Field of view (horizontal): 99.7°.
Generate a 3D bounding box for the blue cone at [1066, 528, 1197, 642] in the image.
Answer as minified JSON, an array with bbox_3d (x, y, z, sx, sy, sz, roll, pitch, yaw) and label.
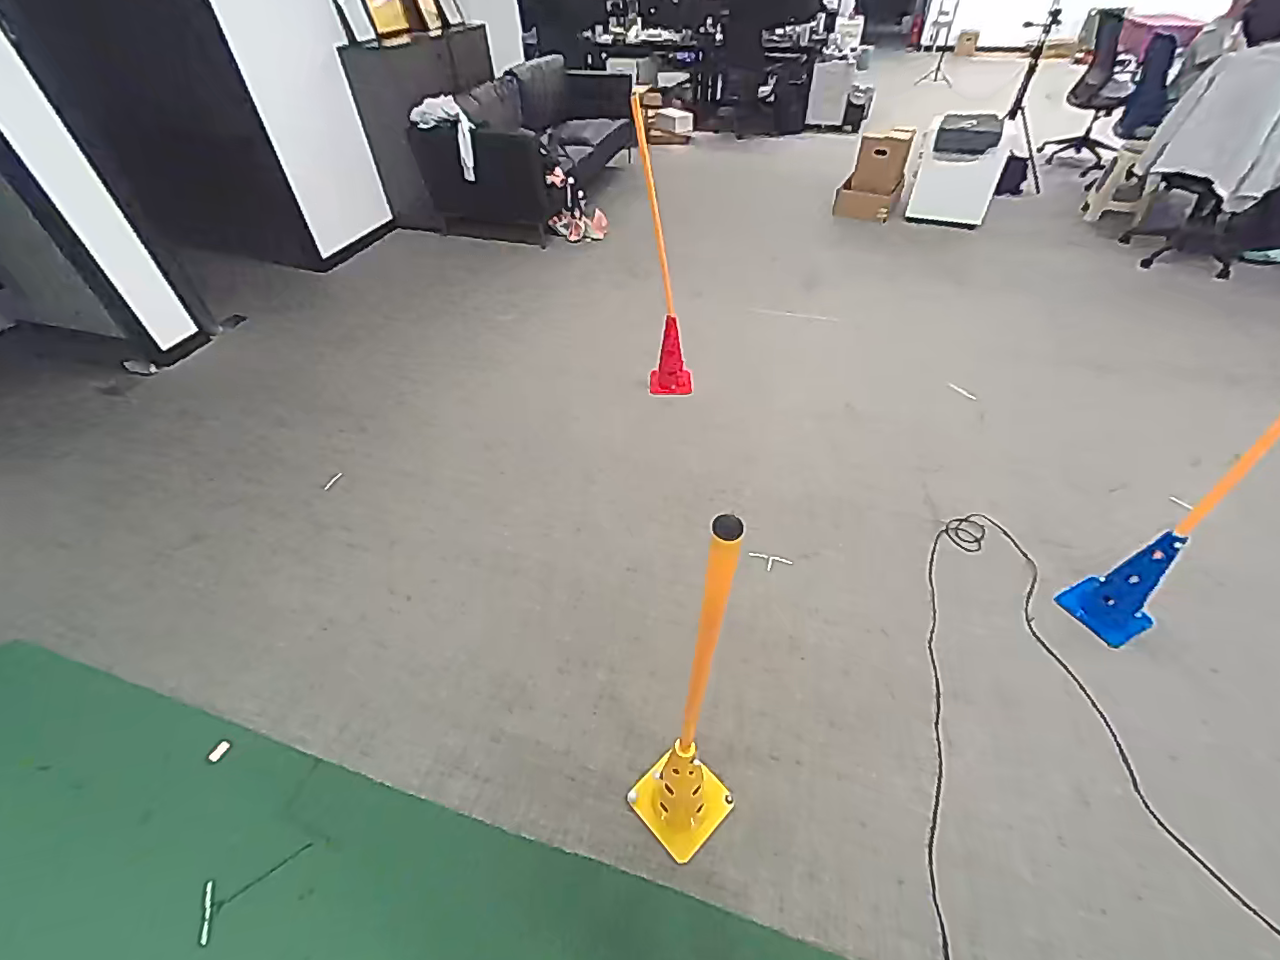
[{"bbox_3d":[1.444,0.273,1.559,0.193,0.380,0.192,-19,46,-20],"label":"blue cone"}]
